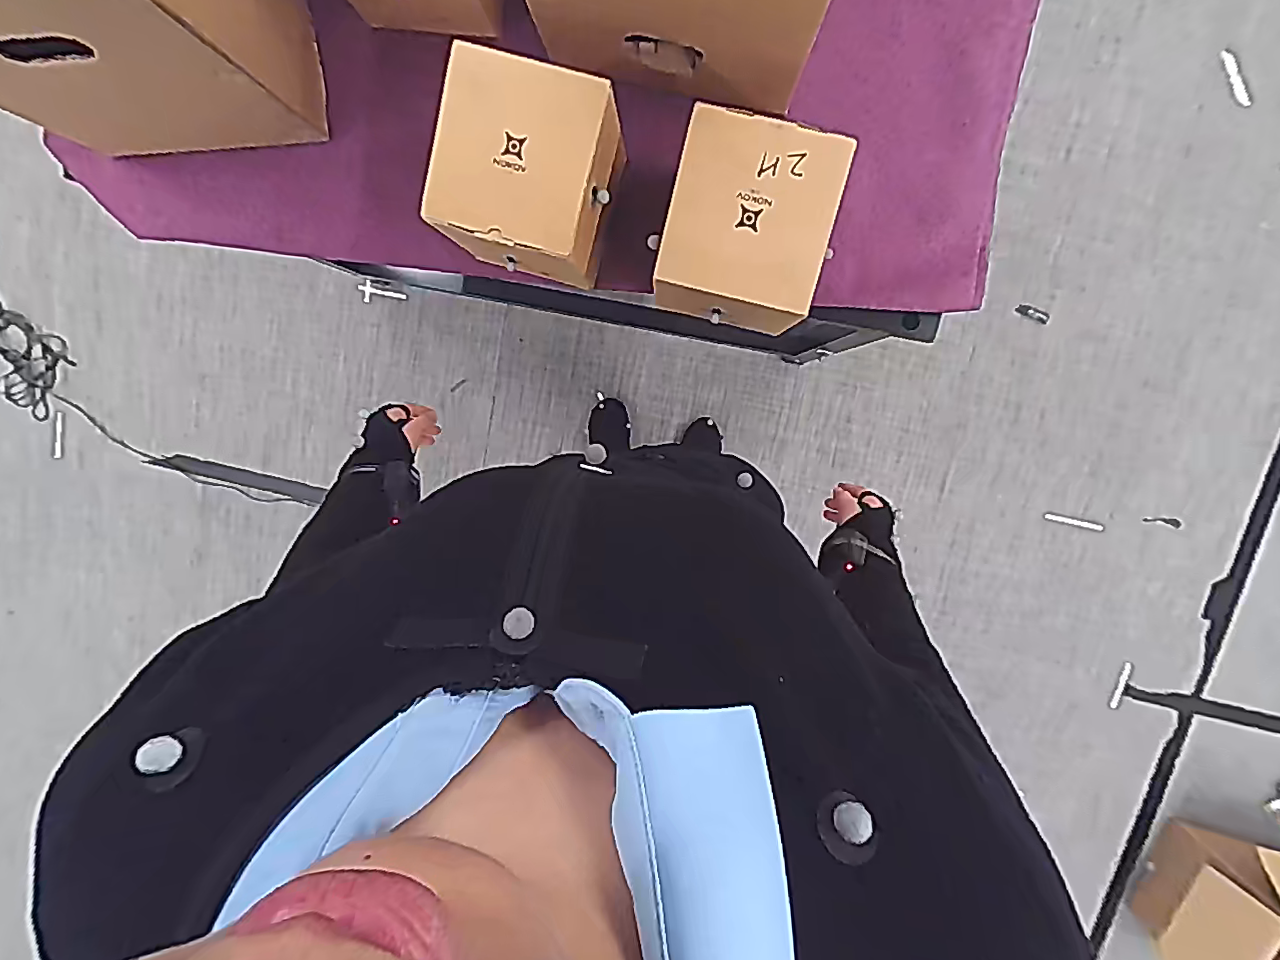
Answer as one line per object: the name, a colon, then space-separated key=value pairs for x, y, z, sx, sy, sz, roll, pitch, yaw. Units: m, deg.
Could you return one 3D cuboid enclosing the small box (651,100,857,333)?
small box: x=0.116 y=-0.277 z=0.614 sx=0.168 sy=0.176 sz=0.179 roll=15 pitch=98 yaw=1
